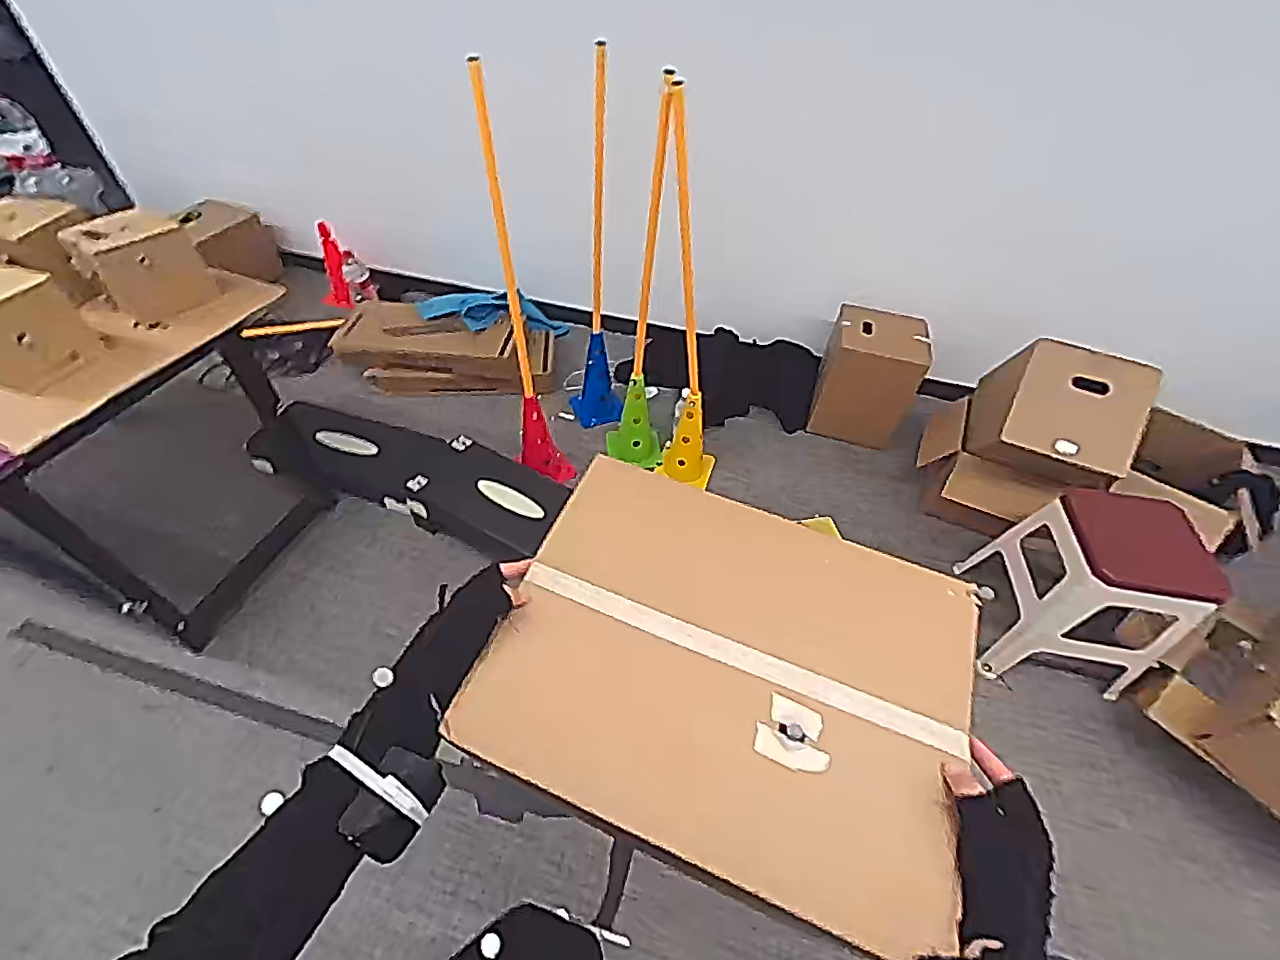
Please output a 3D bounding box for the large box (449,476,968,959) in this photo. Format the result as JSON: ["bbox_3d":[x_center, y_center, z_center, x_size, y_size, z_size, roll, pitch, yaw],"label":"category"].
[{"bbox_3d":[0.073,0.257,0.606,0.408,0.320,0.320,21,57,12],"label":"large box"}]
